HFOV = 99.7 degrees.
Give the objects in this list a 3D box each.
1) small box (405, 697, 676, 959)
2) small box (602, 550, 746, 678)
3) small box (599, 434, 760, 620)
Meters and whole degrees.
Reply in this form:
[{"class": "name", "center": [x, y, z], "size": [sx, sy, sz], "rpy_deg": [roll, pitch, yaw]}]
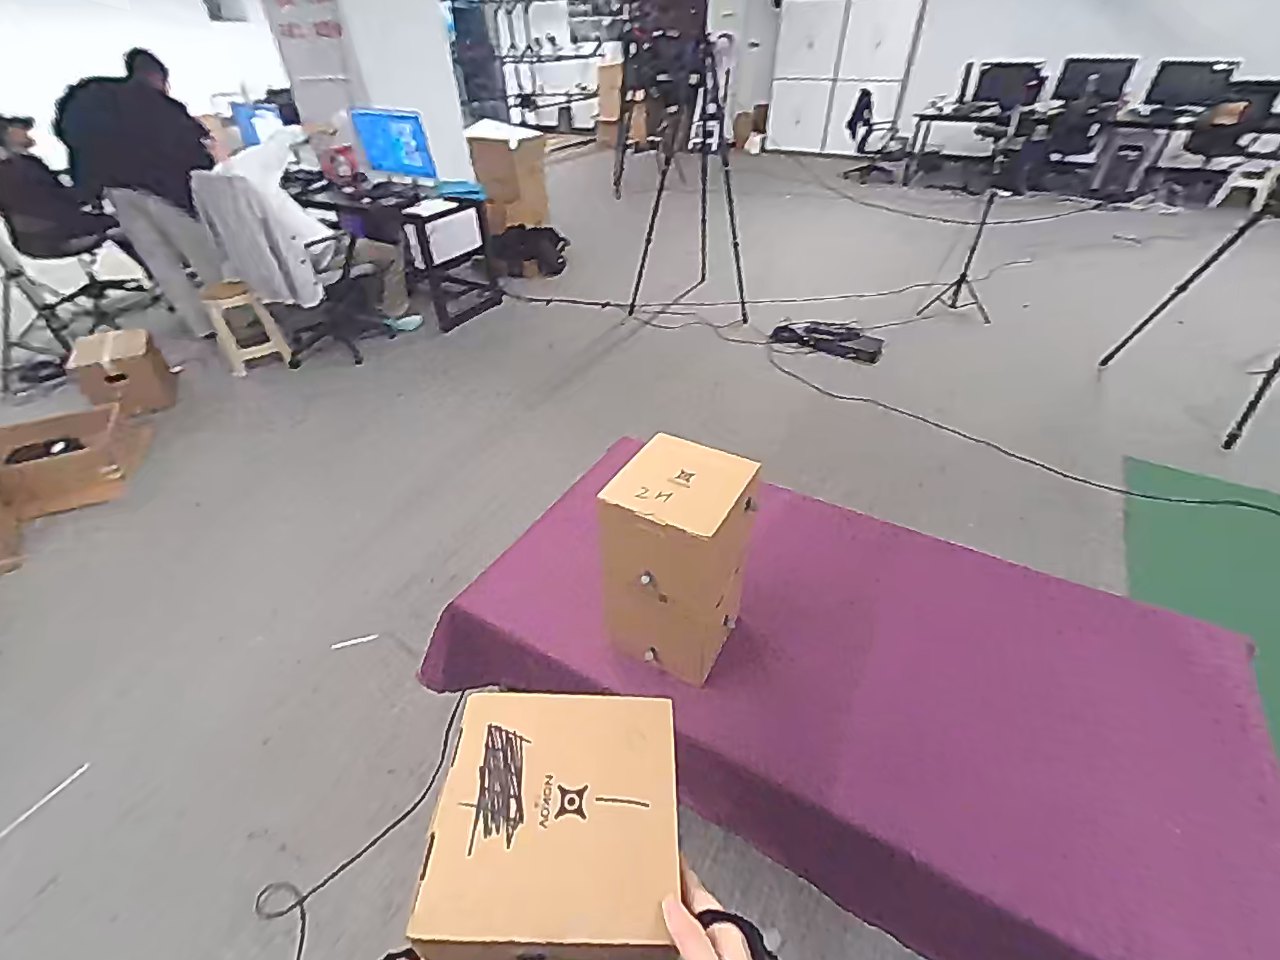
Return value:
[{"class": "small box", "center": [-0.066, 0.304, 0.453], "size": [0.179, 0.176, 0.168], "rpy_deg": [4, 39, -2]}, {"class": "small box", "center": [0.056, 0.195, 0.888], "size": [0.179, 0.176, 0.168], "rpy_deg": [20, 43, 22]}, {"class": "small box", "center": [0.056, 0.065, 0.786], "size": [0.168, 0.176, 0.179], "rpy_deg": [20, 44, 24]}]
